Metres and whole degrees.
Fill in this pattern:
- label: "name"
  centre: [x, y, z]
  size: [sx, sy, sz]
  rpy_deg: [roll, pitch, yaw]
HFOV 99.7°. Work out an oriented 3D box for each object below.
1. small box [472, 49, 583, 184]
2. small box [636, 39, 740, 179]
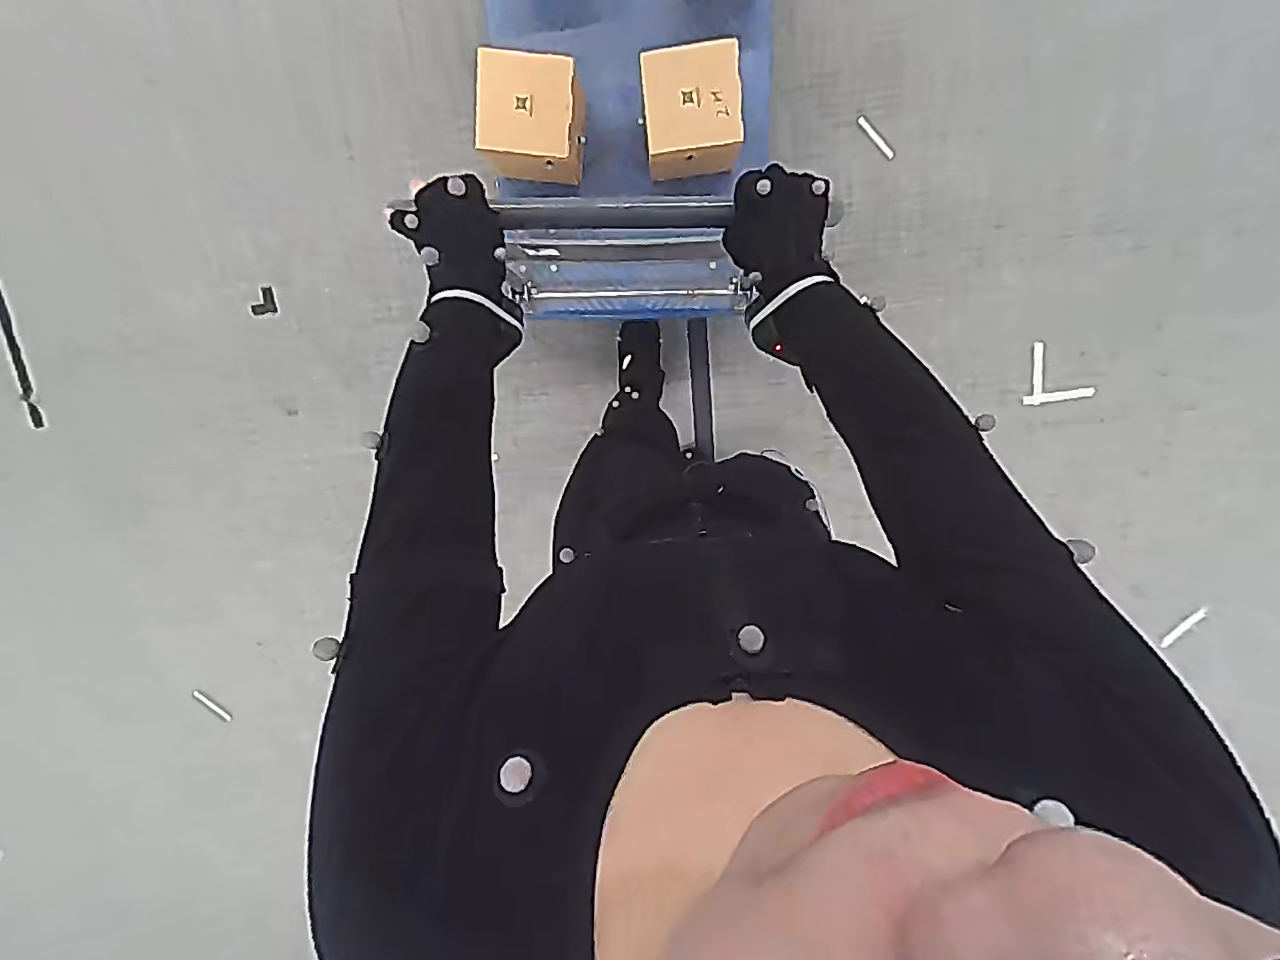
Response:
- label: "small box"
  centre: [-0.213, -0.695, 1.052]
  size: [0.179, 0.176, 0.168]
  rpy_deg: [5, 103, -1]
- label: "small box"
  centre: [0.091, -0.699, 1.039]
  size: [0.179, 0.176, 0.168]
  rpy_deg: [-6, 104, 4]
